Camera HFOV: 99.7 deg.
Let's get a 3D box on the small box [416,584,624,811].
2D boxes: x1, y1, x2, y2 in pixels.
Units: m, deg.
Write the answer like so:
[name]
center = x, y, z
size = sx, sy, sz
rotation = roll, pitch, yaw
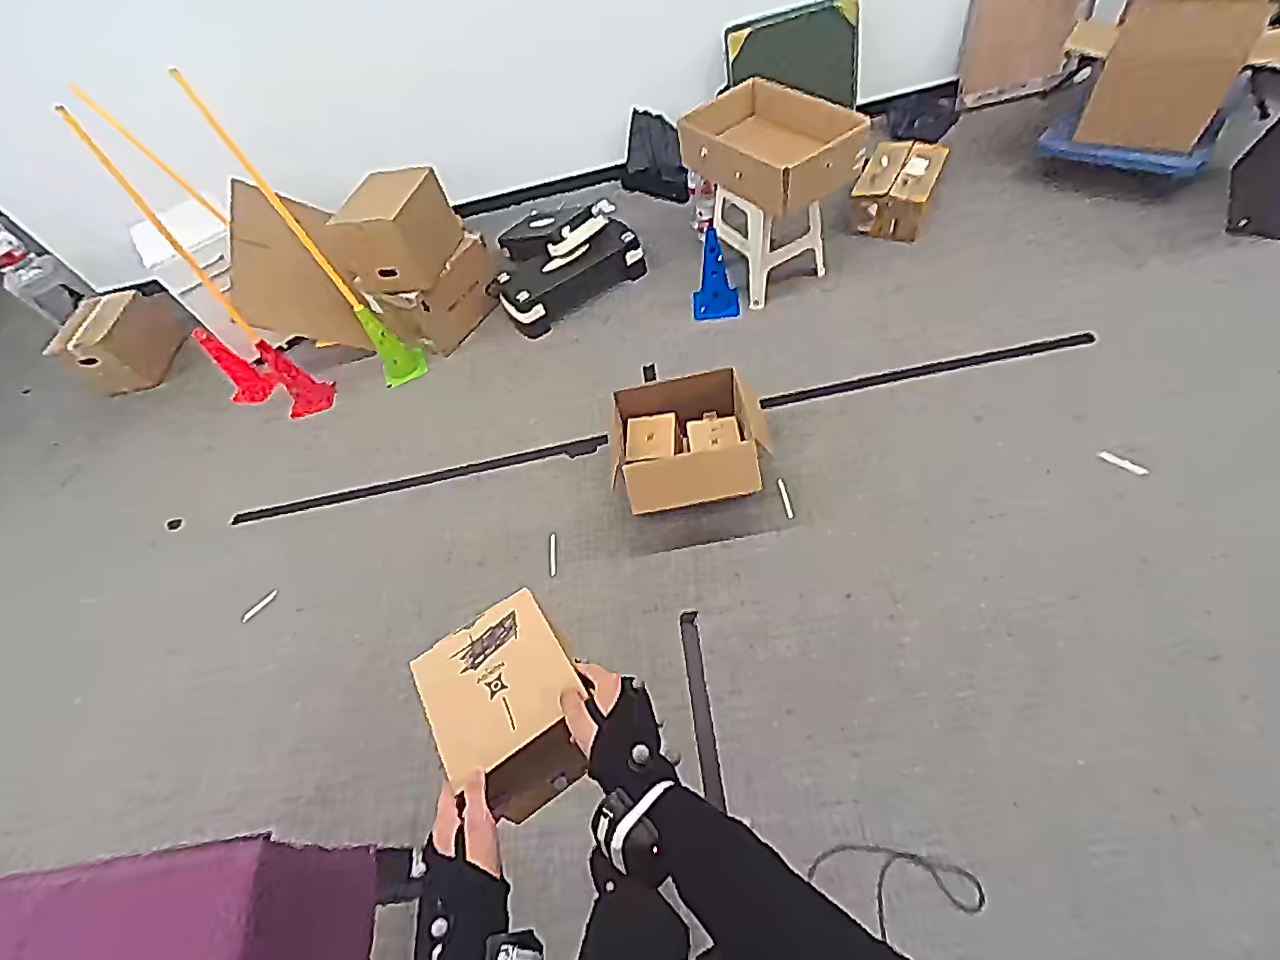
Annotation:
[small box]
center = -0.142, 0.270, 0.669
size = 0.168, 0.176, 0.179
rotation = -32, 49, -11
